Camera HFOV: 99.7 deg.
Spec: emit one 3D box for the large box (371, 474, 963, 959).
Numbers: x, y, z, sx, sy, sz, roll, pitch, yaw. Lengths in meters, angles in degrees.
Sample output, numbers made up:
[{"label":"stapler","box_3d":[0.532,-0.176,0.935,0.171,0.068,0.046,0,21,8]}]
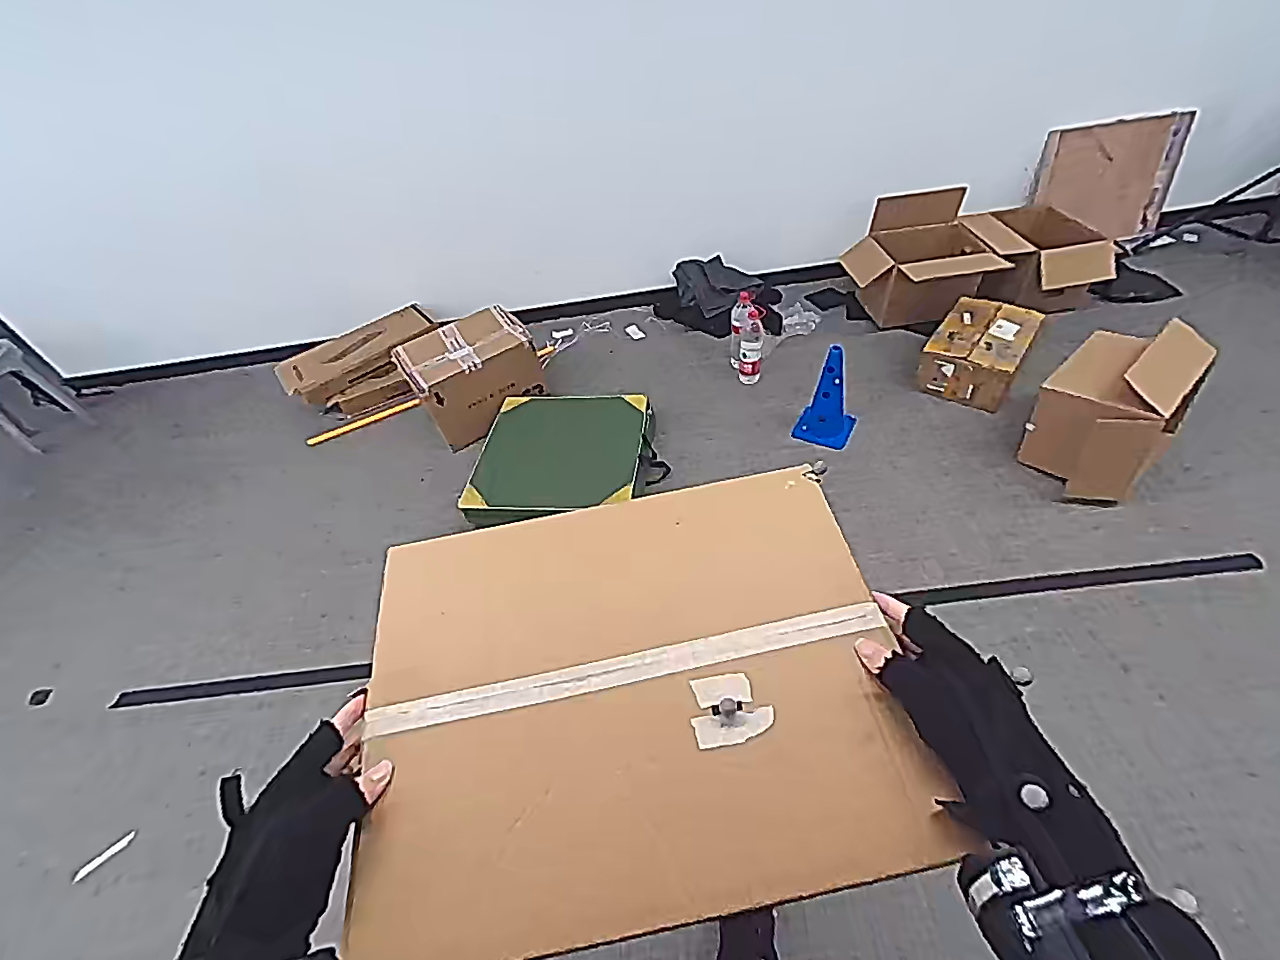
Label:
[{"label":"large box","box_3d":[0.007,0.241,0.555,0.408,0.320,0.320,-11,54,-2]}]
